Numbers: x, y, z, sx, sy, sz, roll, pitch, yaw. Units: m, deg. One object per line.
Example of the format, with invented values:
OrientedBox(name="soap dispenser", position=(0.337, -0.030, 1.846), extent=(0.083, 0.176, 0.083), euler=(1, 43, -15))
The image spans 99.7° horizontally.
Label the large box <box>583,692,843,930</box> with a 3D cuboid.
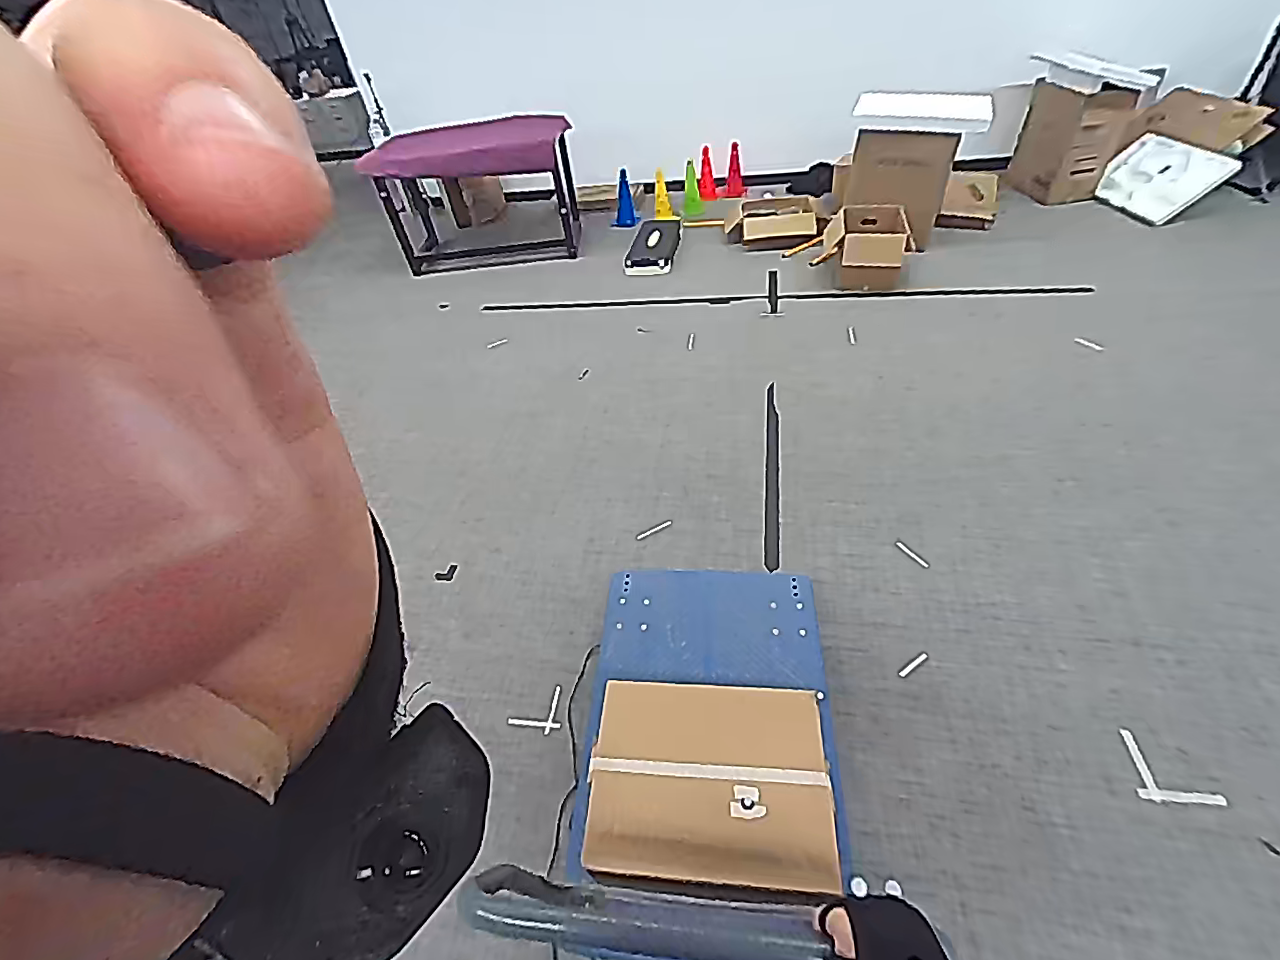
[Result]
OrientedBox(name="large box", position=(0.130, 0.625, 1.027), extent=(0.408, 0.320, 0.320), euler=(0, 45, 8))
